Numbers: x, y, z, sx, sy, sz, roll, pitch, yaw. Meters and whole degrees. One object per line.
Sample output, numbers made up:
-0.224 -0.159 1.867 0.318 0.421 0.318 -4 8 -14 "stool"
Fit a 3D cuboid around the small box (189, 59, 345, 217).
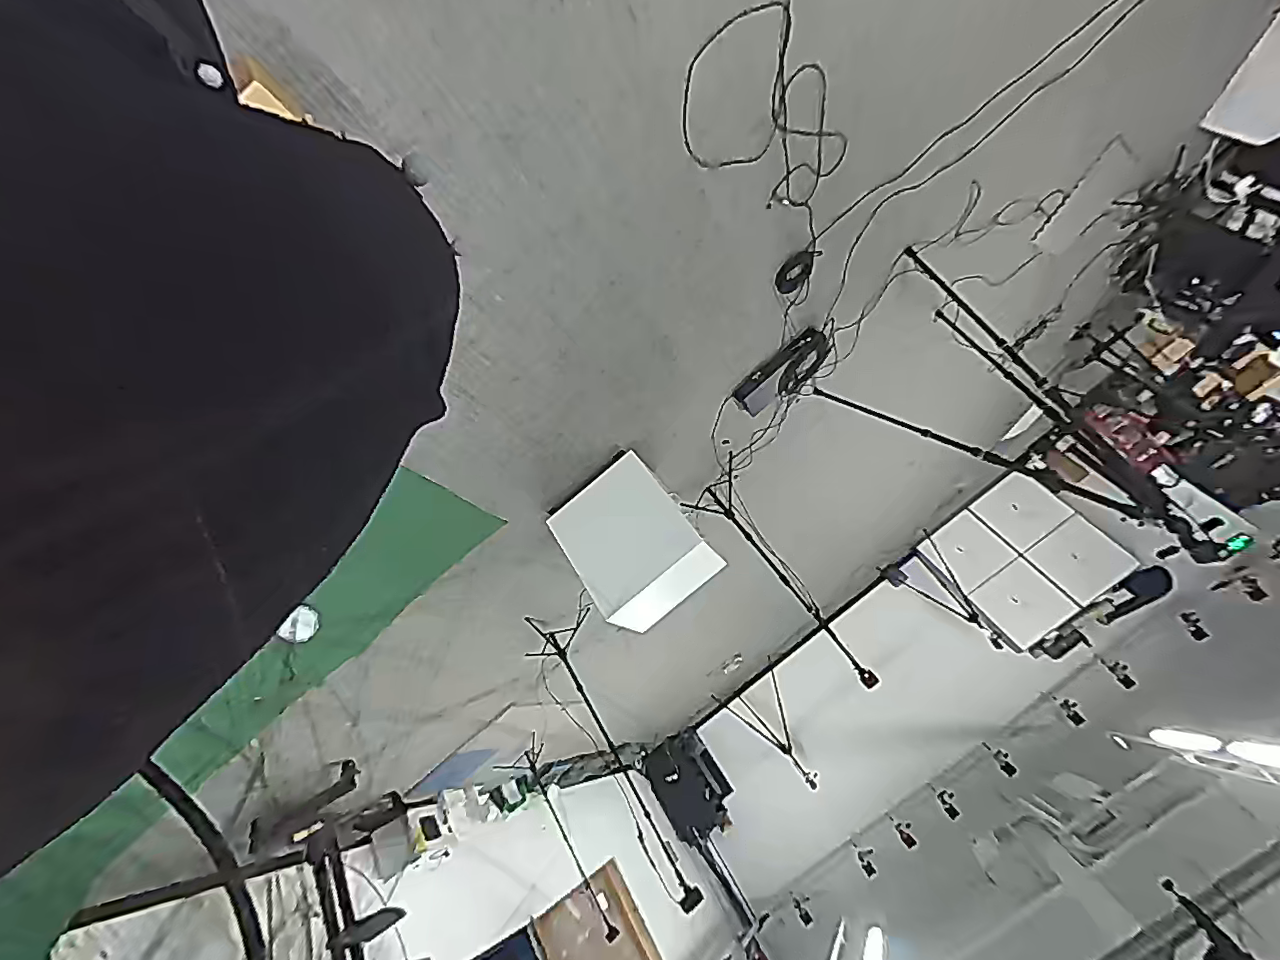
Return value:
-0.705 -0.648 1.019 0.168 0.176 0.179 -41 148 7 "small box"
